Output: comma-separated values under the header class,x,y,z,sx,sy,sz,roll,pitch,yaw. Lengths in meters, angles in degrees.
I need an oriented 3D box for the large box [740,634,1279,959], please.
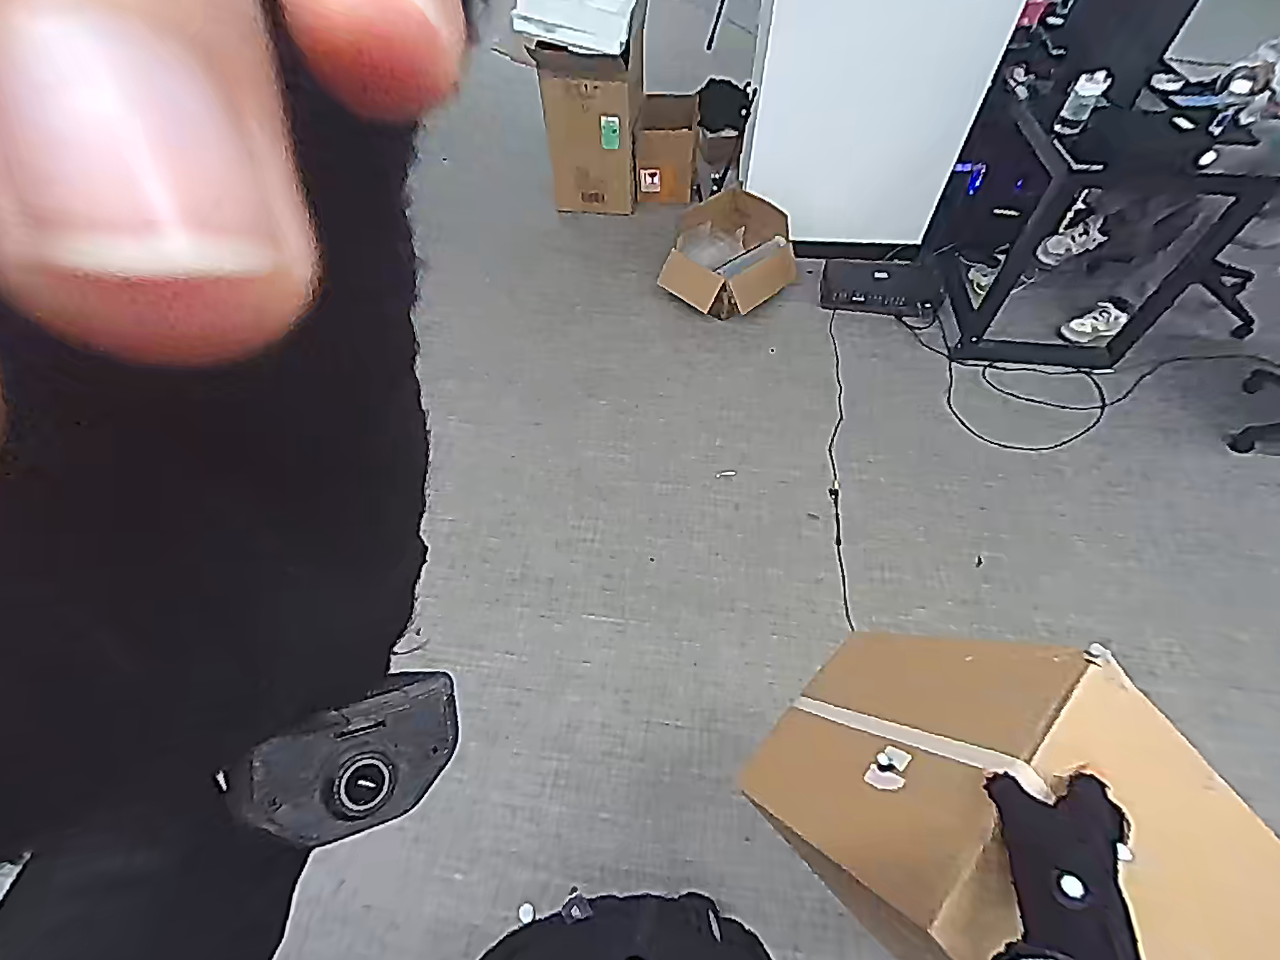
class,x,y,z,sx,sy,sz,roll,pitch,yaw
large box,0.400,0.423,0.670,0.320,0.408,0.320,-41,90,-18
